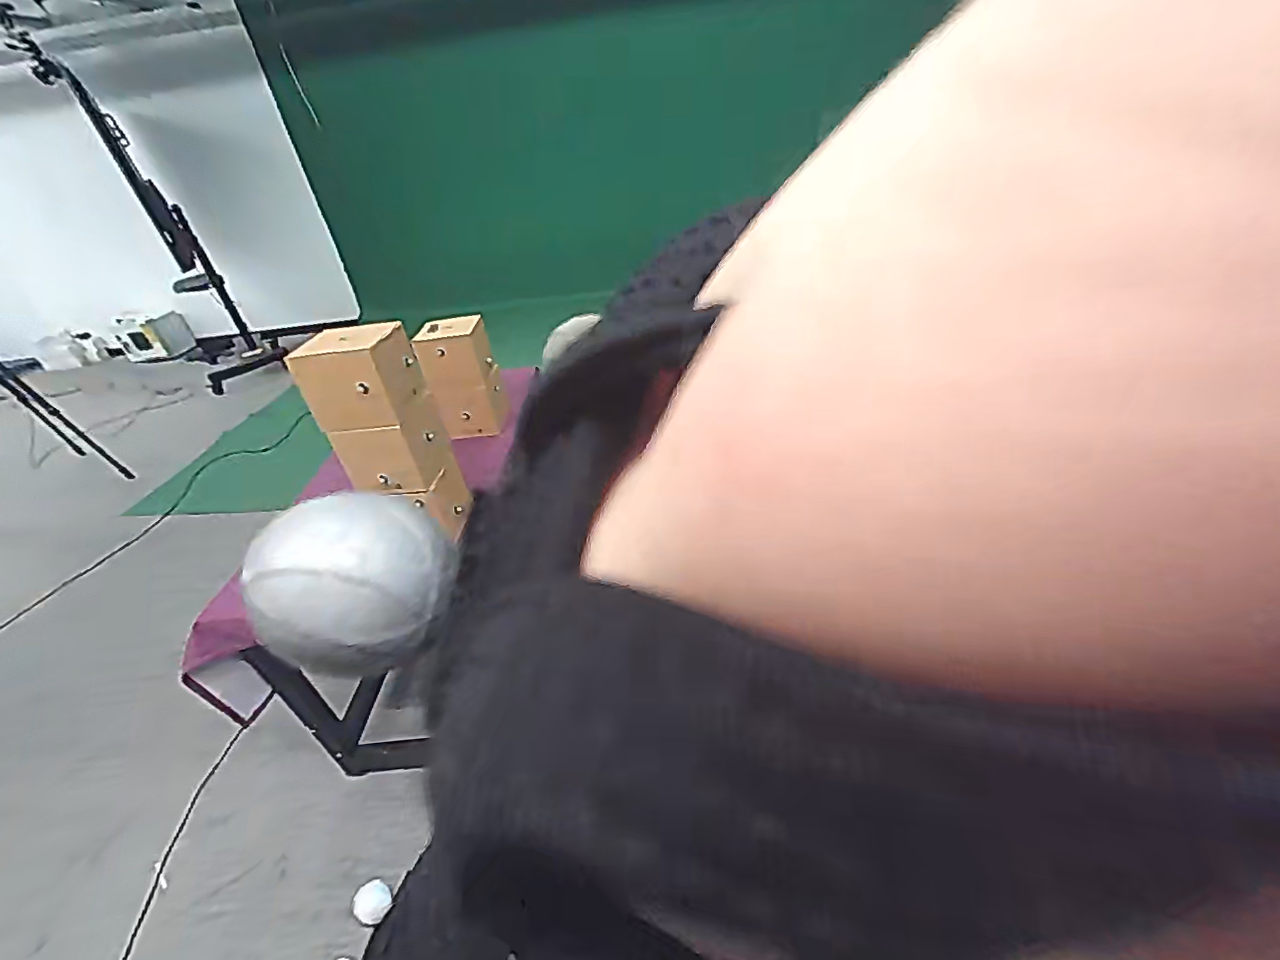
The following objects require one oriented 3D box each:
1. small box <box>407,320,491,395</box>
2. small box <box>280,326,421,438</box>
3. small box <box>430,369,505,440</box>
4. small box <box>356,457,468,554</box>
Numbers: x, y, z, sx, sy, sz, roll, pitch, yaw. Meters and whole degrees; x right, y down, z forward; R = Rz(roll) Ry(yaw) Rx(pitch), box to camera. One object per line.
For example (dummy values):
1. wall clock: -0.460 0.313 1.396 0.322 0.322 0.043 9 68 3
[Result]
1. small box: -0.574 -0.370 1.647 0.179 0.176 0.168 -7 35 2
2. small box: -0.589 -0.204 1.131 0.179 0.176 0.168 -6 34 5
3. small box: -0.545 -0.238 1.741 0.168 0.176 0.179 -6 35 4
4. small box: -0.543 0.064 1.315 0.179 0.176 0.168 -6 35 3
